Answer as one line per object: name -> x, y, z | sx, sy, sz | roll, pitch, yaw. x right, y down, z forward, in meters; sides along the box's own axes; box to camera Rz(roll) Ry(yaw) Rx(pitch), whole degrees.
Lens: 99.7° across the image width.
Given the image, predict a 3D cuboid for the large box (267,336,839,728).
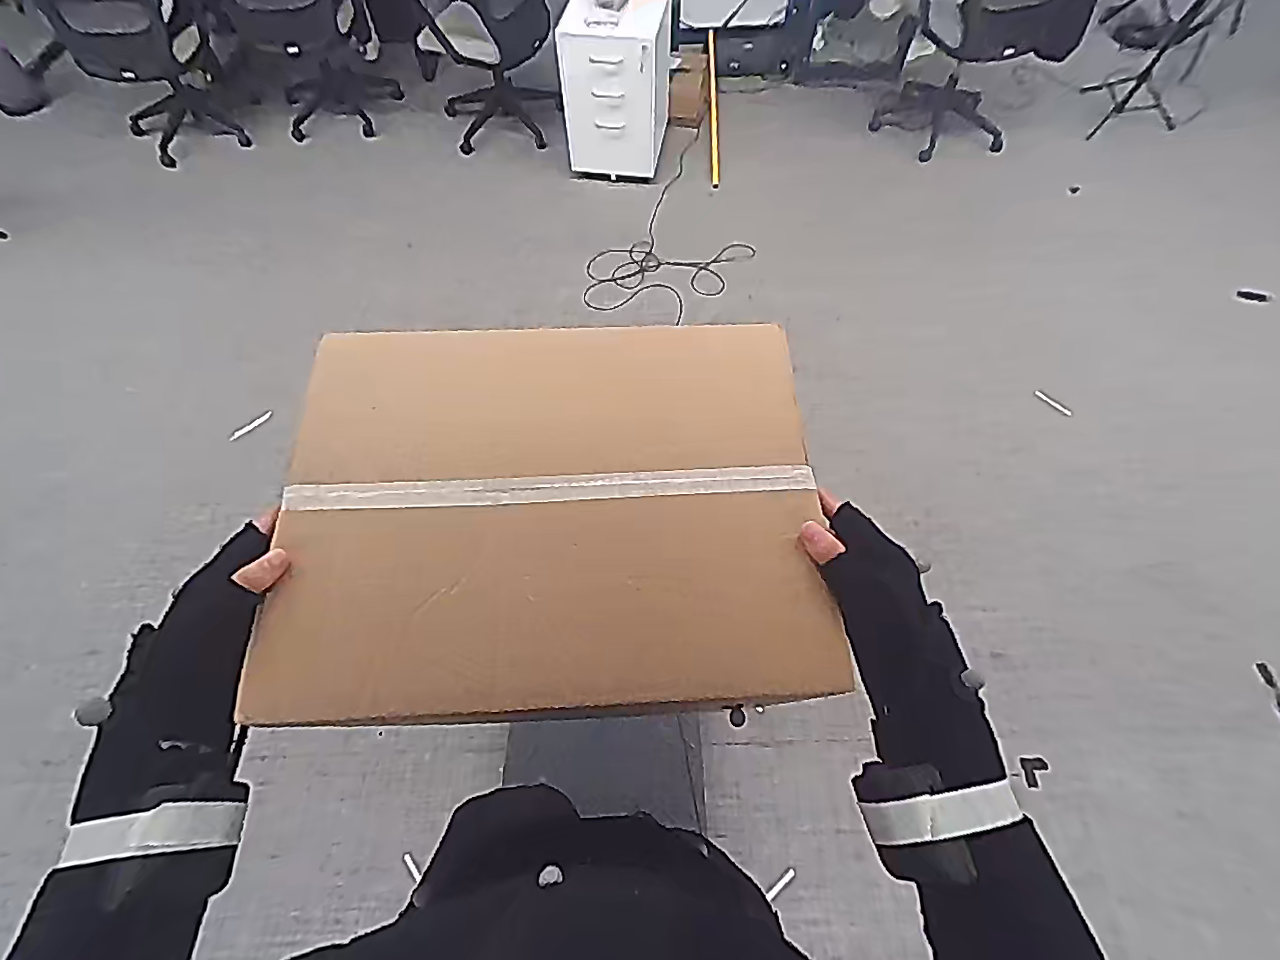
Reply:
large box -> -0.066, 0.076, 0.568 | 0.408, 0.320, 0.320 | -2, 65, -2
